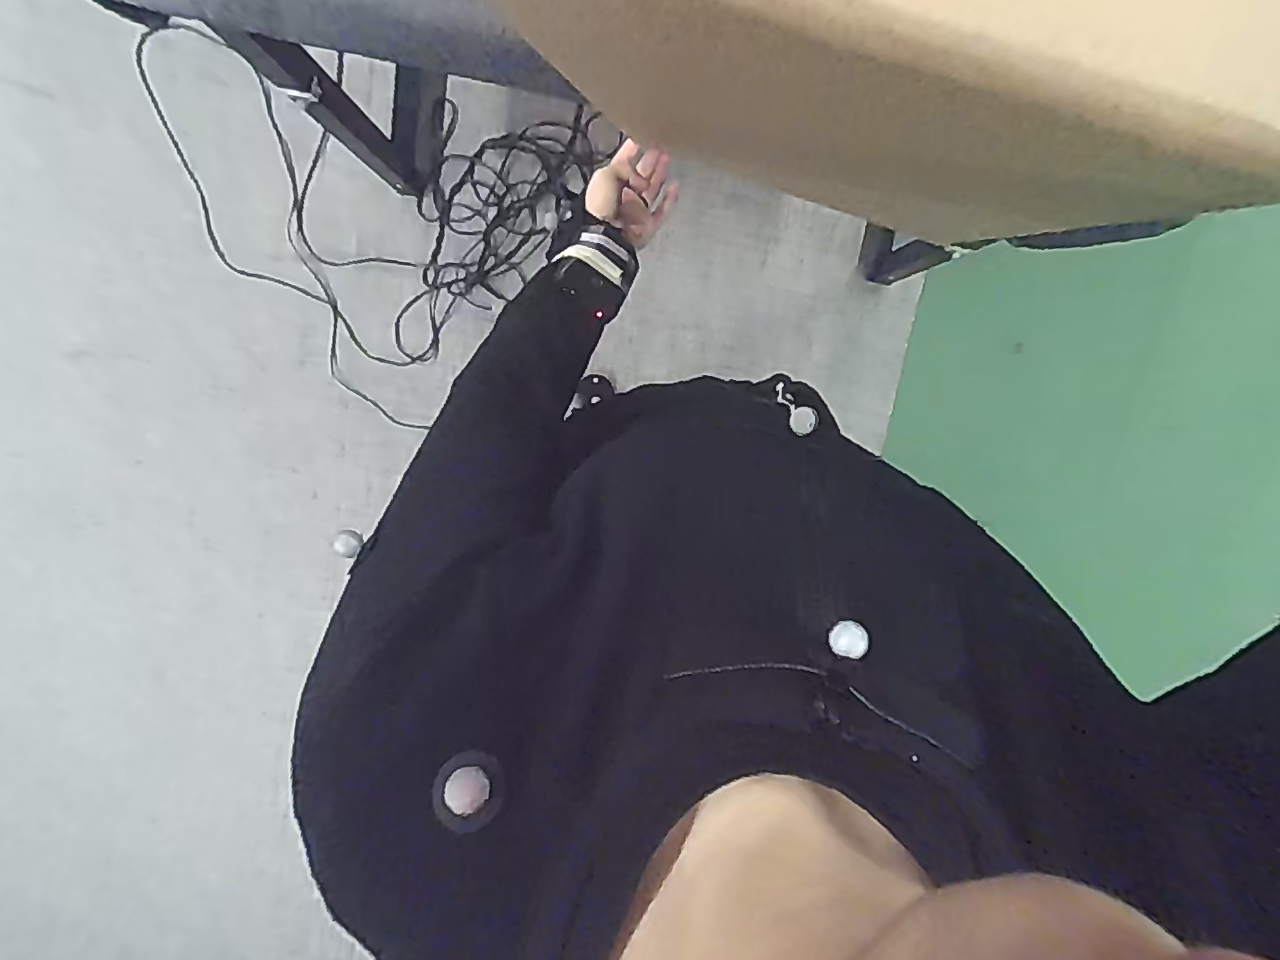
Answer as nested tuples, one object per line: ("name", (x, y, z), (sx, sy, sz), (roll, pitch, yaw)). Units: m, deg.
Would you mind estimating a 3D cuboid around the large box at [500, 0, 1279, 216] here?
("large box", (0.135, -0.351, 0.278), (0.320, 0.408, 0.320), (20, 115, 3))
